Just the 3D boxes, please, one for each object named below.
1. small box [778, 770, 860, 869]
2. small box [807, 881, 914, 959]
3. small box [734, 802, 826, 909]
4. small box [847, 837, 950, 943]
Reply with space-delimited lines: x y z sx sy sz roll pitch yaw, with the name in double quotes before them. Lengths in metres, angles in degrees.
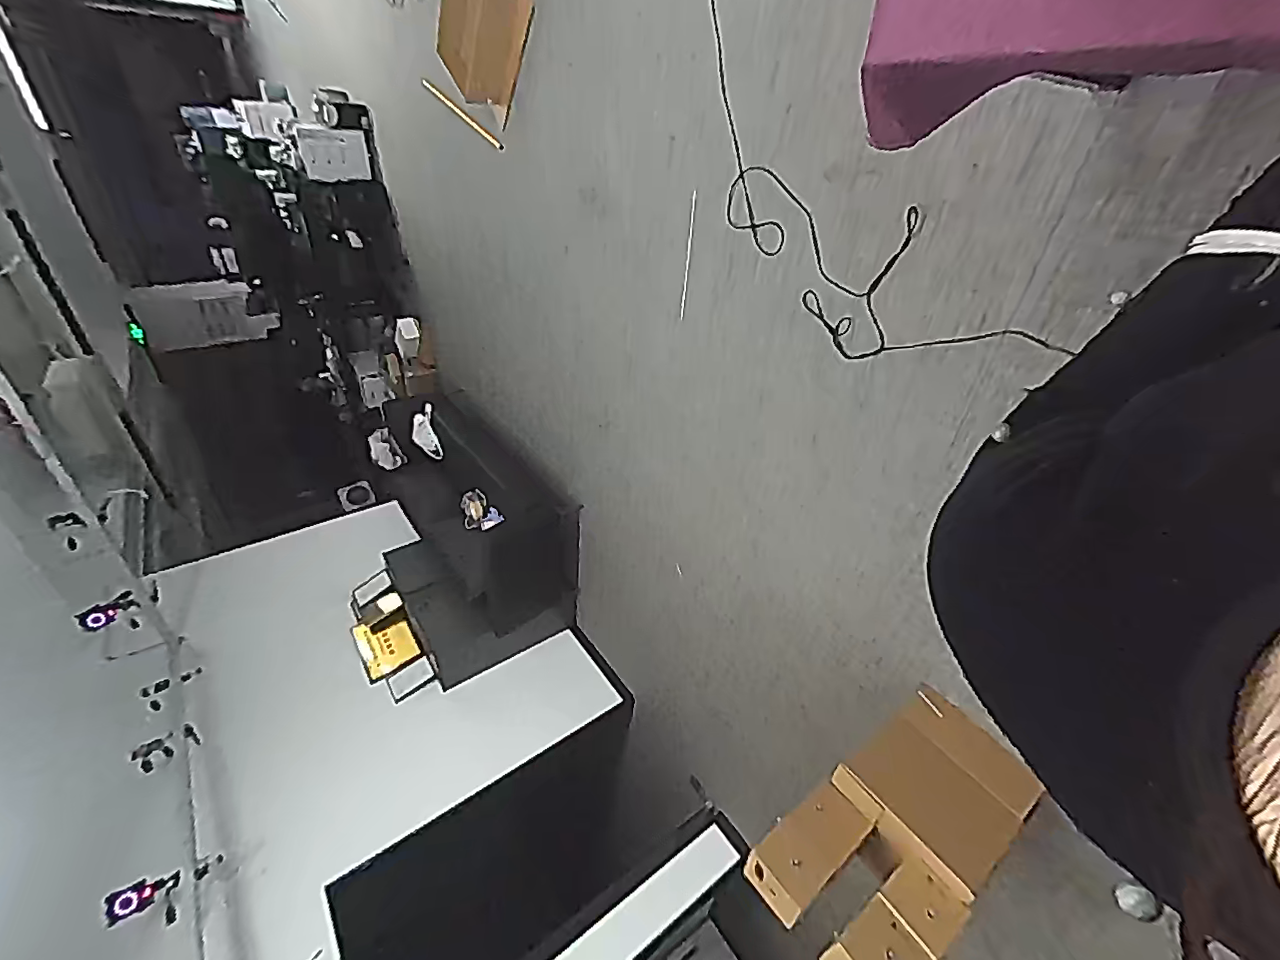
"small box" 0.535 1.026 1.655 0.179 0.176 0.168 37 138 38
"small box" 0.565 1.176 1.381 0.168 0.176 0.179 44 141 37
"small box" 0.404 1.078 1.570 0.179 0.176 0.168 38 138 36
"small box" 0.698 1.114 1.459 0.168 0.176 0.179 42 140 38
